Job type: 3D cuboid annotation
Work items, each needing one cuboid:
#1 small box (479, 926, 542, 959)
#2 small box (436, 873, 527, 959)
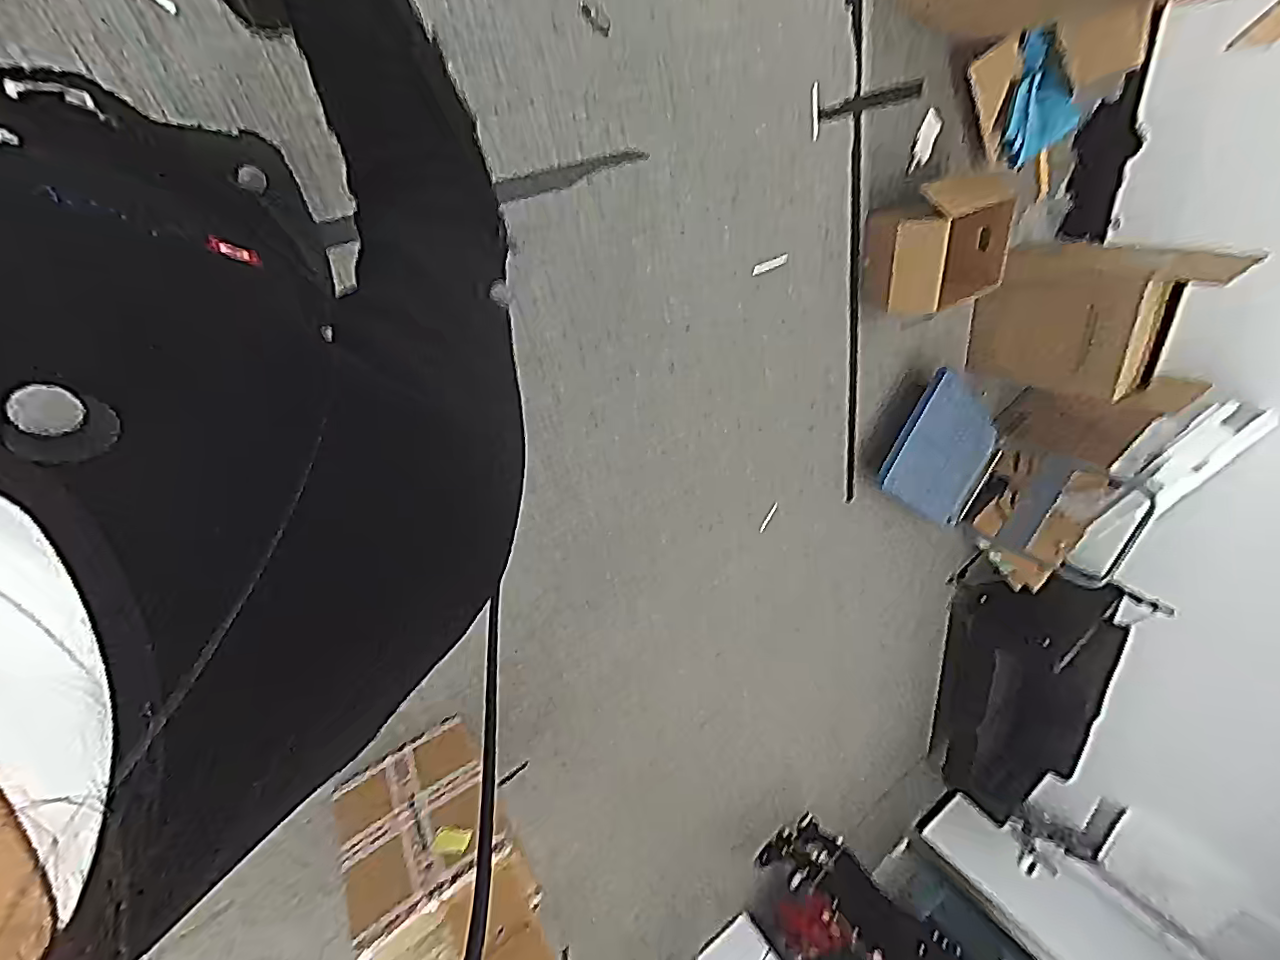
[{"bbox_3d":[-0.288,1.171,1.210,0.179,0.176,0.168,-22,120,-28],"label":"small box"},{"bbox_3d":[-0.379,1.135,1.341,0.179,0.176,0.168,-26,122,-24],"label":"small box"}]
